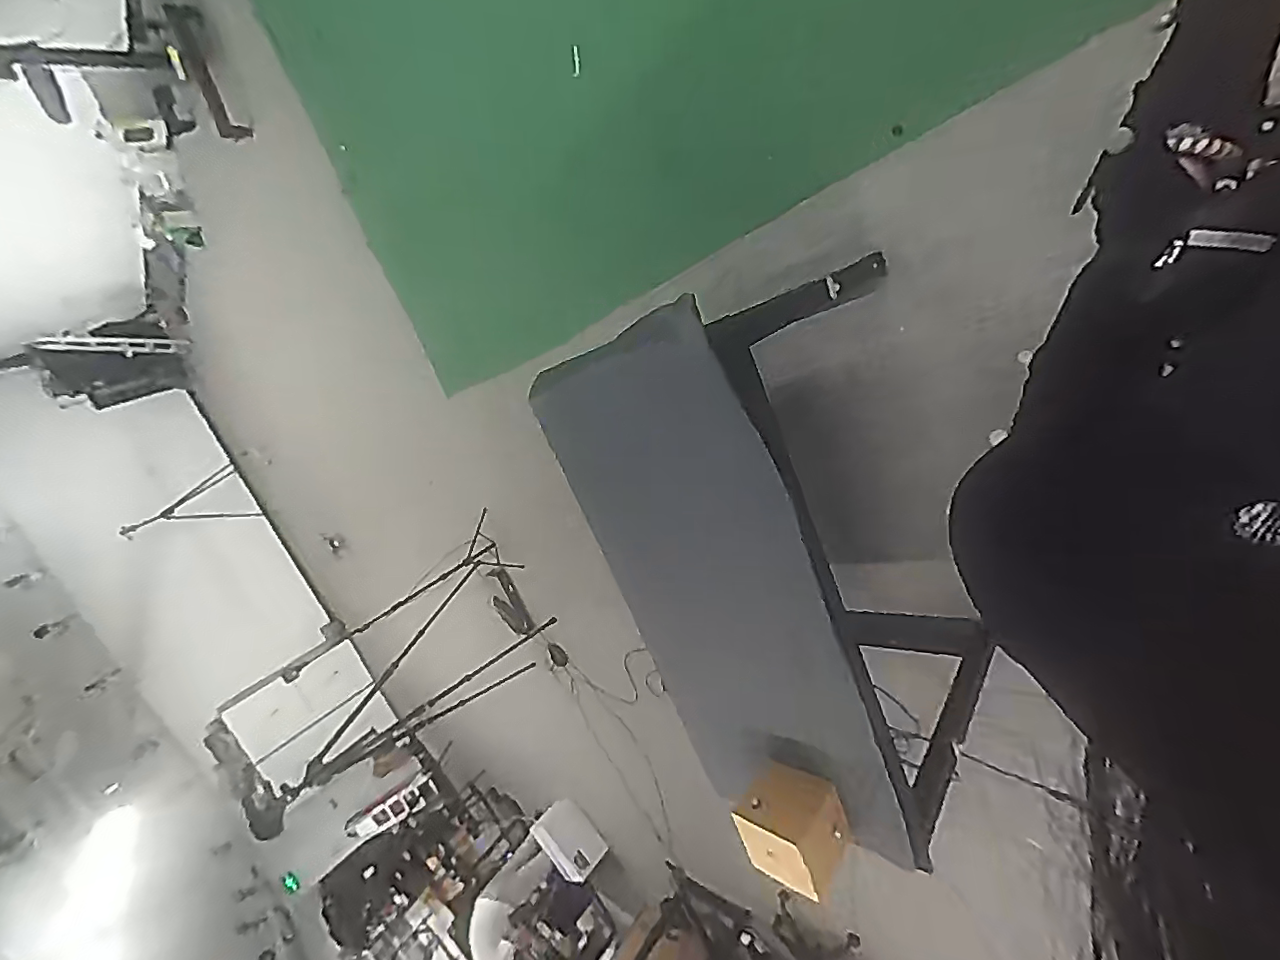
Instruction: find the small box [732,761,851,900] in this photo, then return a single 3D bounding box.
[{"bbox_3d":[0.343,0.772,1.215,0.179,0.176,0.168,-6,111,49],"label":"small box"}]
